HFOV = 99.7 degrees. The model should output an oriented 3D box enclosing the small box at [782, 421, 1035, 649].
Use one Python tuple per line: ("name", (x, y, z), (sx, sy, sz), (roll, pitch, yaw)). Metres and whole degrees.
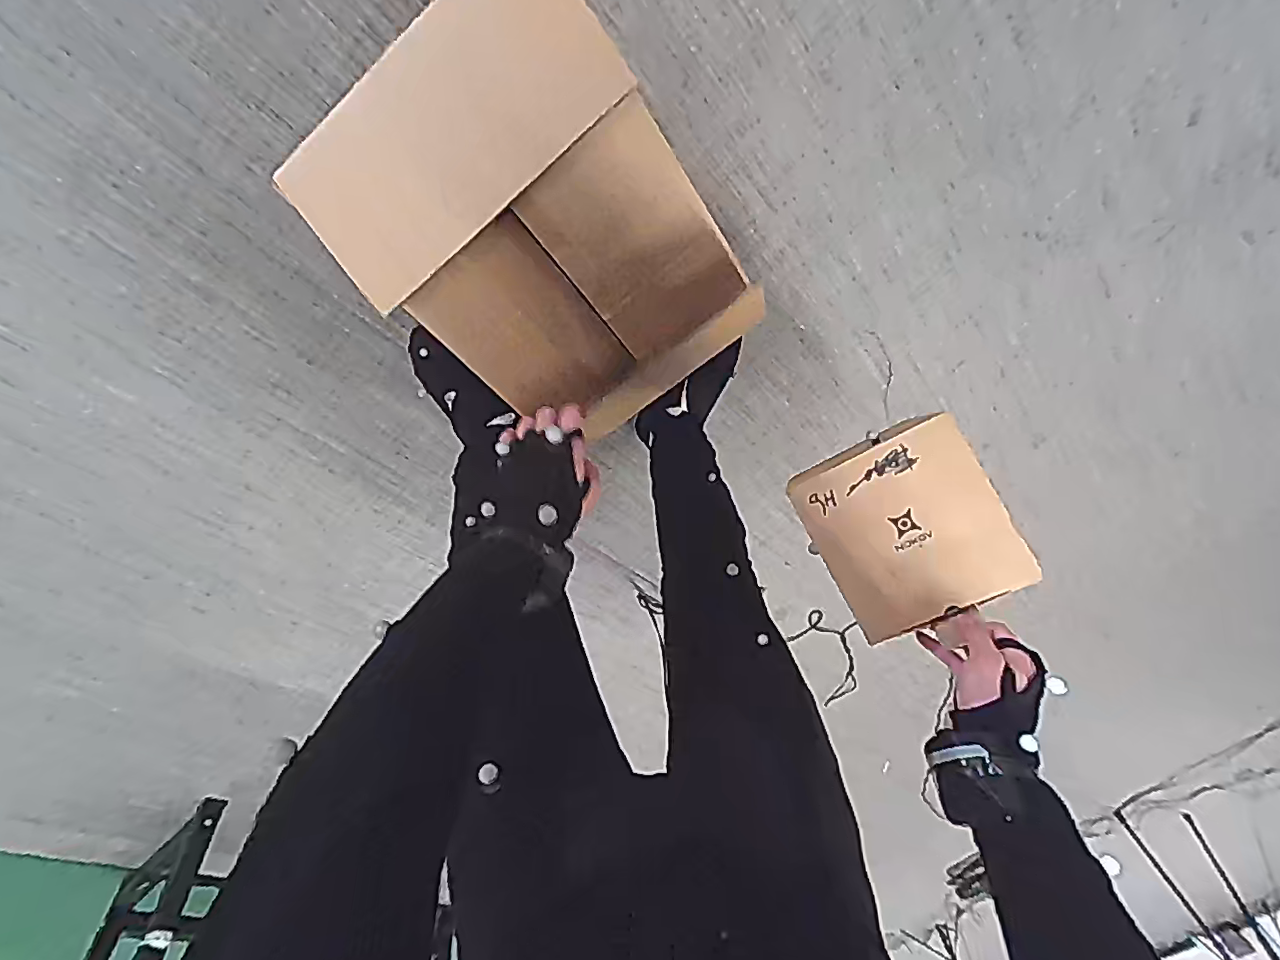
("small box", (0.277, 0.050, 0.596), (0.168, 0.176, 0.179), (-32, 83, 17))
